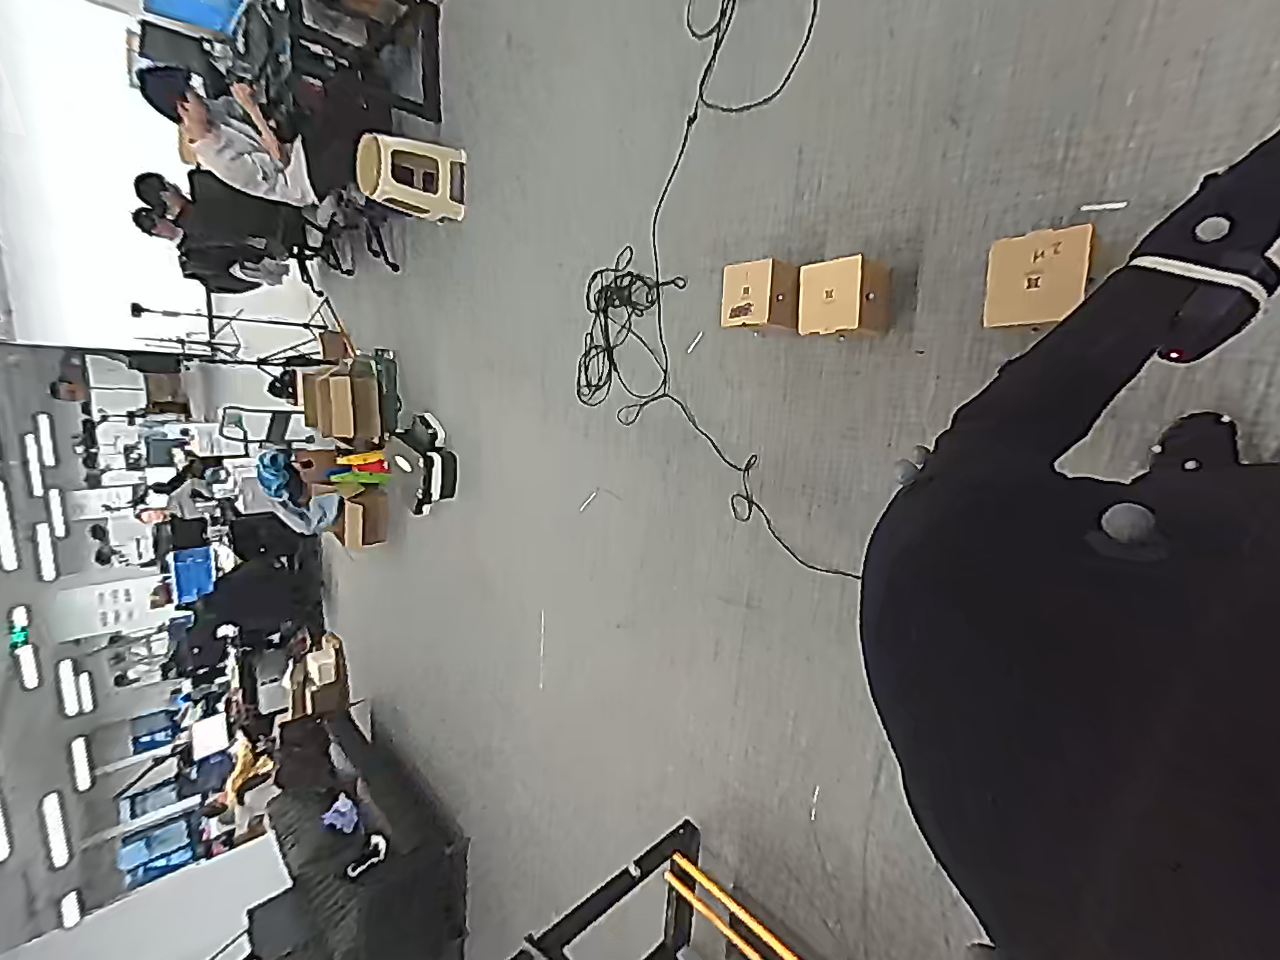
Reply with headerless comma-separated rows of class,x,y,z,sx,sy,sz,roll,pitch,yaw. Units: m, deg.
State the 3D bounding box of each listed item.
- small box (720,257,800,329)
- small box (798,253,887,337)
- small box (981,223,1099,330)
small box,0.355,-0.540,1.590,0.168,0.176,0.179,12,103,45
small box,0.532,-0.476,1.417,0.168,0.176,0.179,7,102,46
small box,0.829,-0.407,1.119,0.168,0.176,0.179,8,102,44
